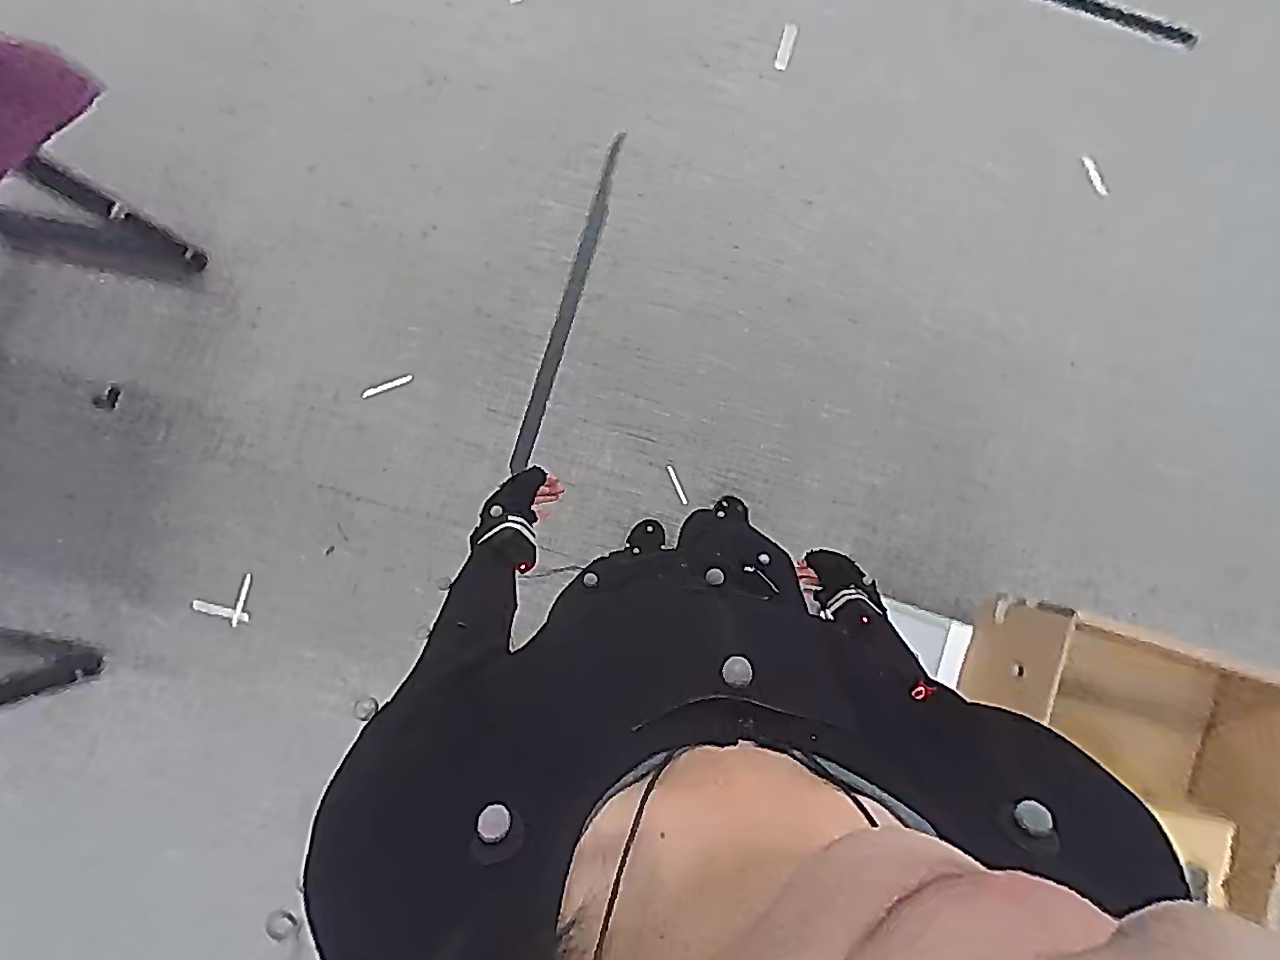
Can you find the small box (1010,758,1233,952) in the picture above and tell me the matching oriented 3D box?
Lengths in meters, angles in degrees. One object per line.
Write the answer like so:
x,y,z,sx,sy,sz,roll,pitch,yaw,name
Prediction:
0.704,0.542,0.808,0.179,0.176,0.168,11,86,0,small box
